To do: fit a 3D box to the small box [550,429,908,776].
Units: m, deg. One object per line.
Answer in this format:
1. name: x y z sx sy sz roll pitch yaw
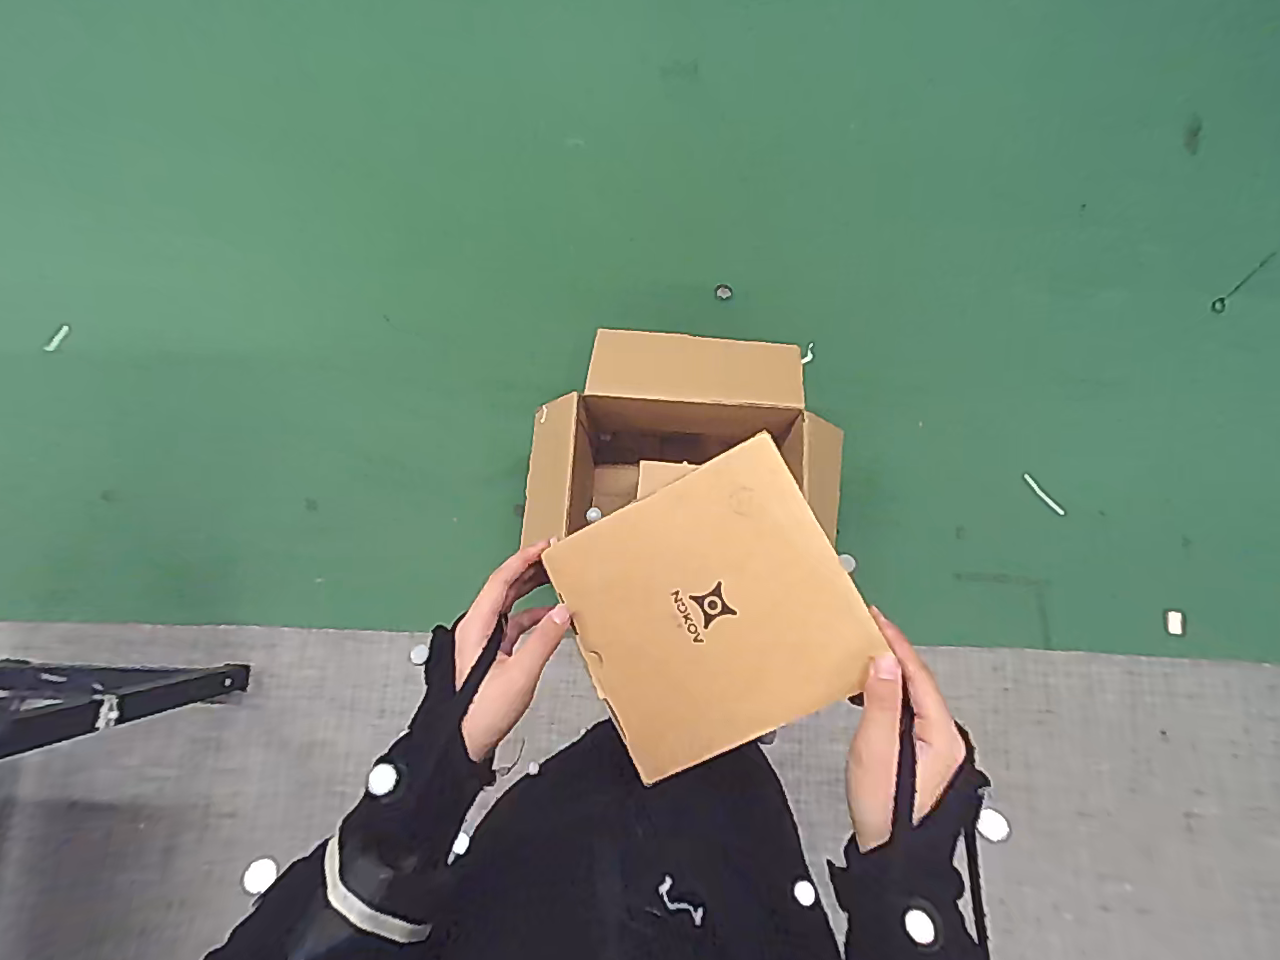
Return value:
1. small box: 0.064 0.082 0.417 0.179 0.176 0.168 -29 79 9
